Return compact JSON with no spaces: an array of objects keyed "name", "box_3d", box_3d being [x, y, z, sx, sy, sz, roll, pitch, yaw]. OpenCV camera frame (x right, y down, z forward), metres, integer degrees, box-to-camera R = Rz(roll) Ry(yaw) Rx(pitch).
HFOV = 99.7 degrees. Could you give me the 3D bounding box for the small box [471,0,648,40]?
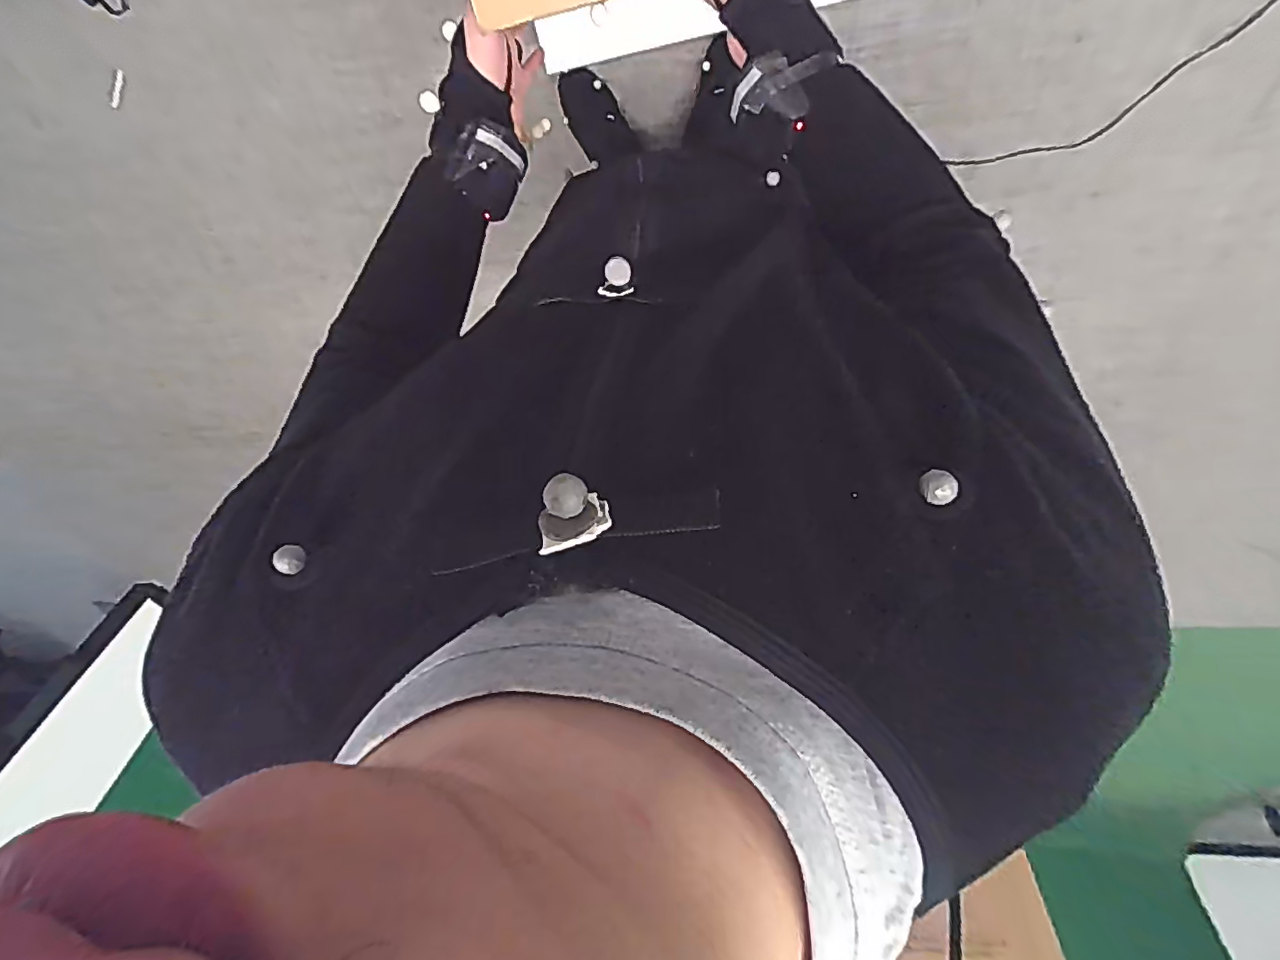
[{"name":"small box","box_3d":[-0.046,-0.450,0.388,0.168,0.176,0.179,-5,133,13]}]
